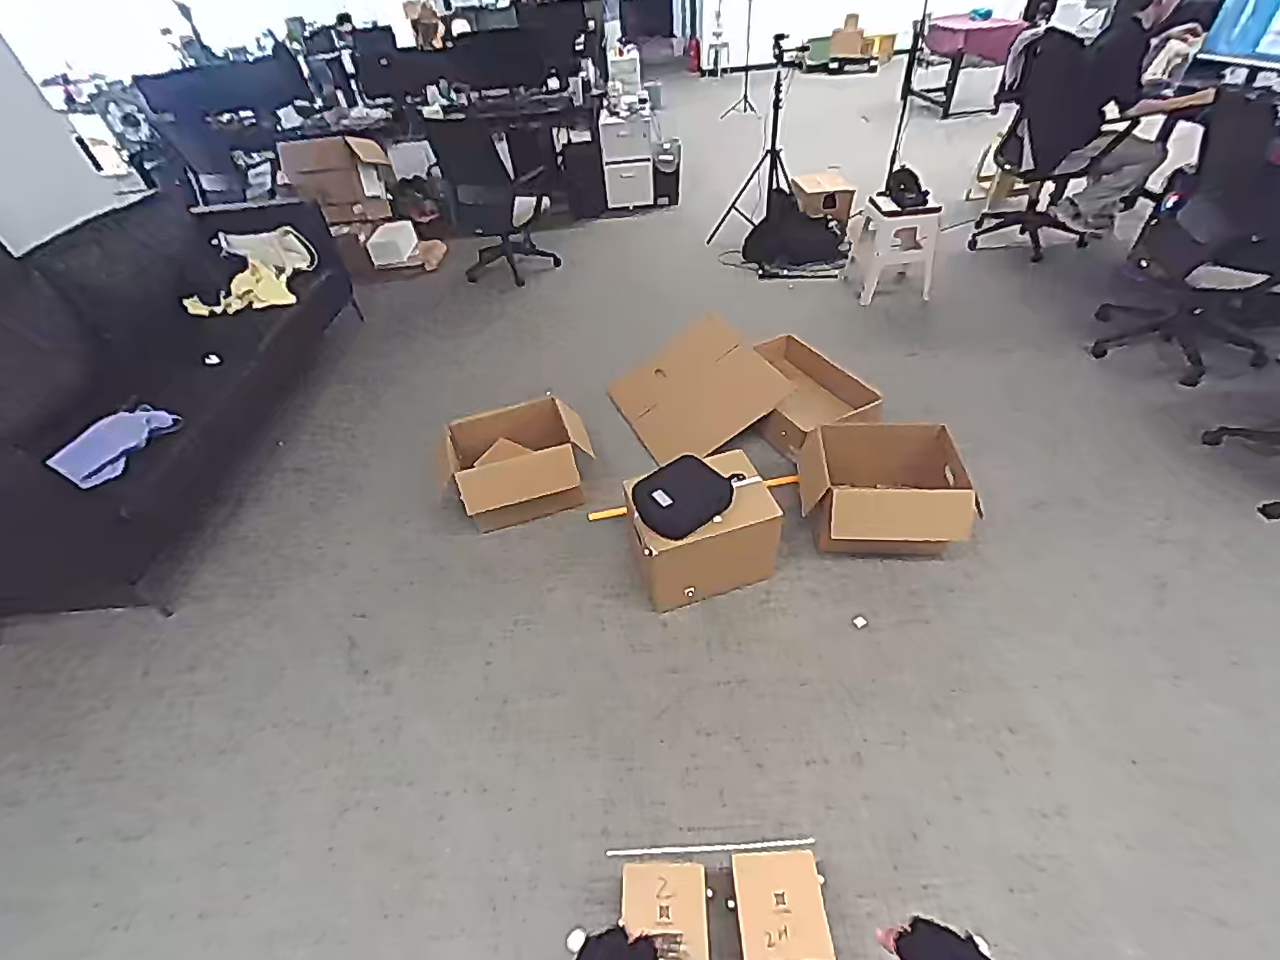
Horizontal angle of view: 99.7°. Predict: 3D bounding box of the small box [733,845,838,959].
[{"bbox_3d":[0.281,0.862,1.088,0.168,0.176,0.179,-6,44,3],"label":"small box"}]
